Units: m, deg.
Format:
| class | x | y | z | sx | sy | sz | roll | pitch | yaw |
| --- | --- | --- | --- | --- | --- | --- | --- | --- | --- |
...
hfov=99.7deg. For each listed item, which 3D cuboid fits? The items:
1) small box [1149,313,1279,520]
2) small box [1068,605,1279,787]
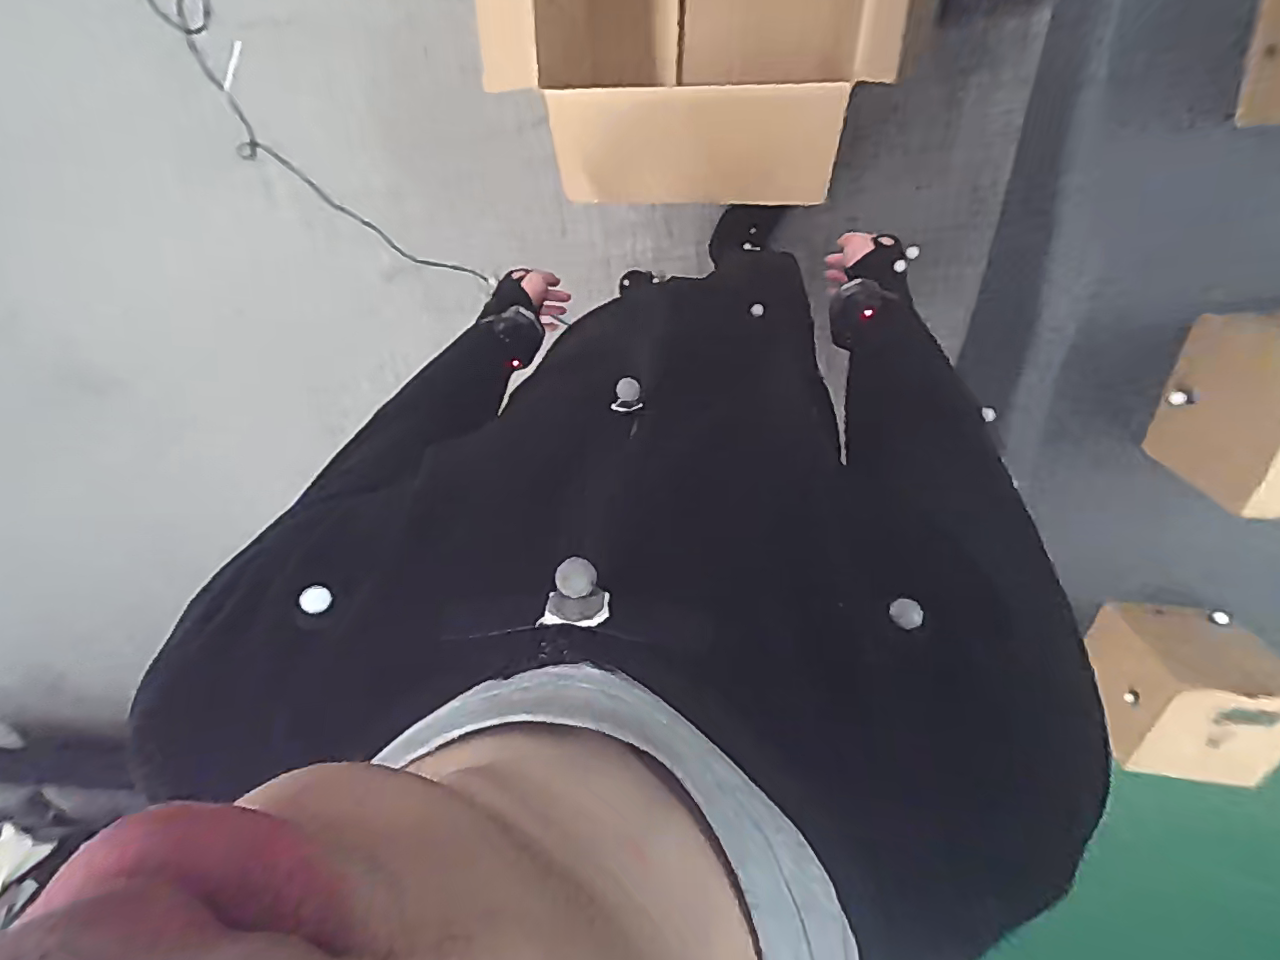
| class | x | y | z | sx | sy | sz | roll | pitch | yaw |
| --- | --- | --- | --- | --- | --- | --- | --- | --- | --- |
| small box | 0.715 | -0.072 | 0.584 | 0.168 | 0.176 | 0.179 | 1 | 120 | 10 |
| small box | 0.775 | 0.305 | 0.786 | 0.168 | 0.176 | 0.179 | 5 | 121 | 8 |
